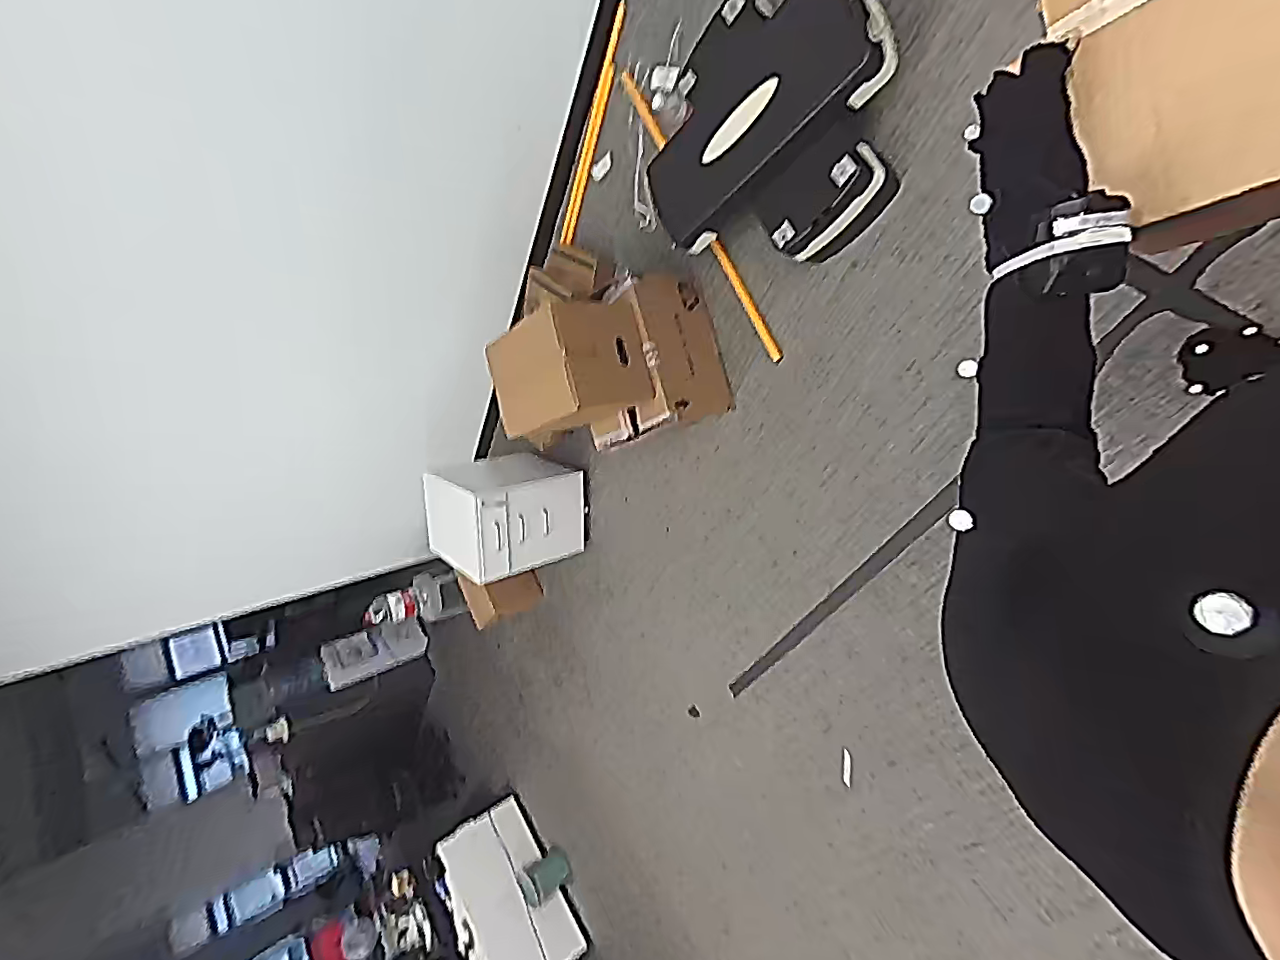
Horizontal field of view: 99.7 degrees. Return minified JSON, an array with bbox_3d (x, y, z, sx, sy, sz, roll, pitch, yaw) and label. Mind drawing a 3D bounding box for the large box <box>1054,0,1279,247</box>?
[{"bbox_3d":[0.555,-0.394,0.356,0.408,0.320,0.320,-7,98,50],"label":"large box"}]
